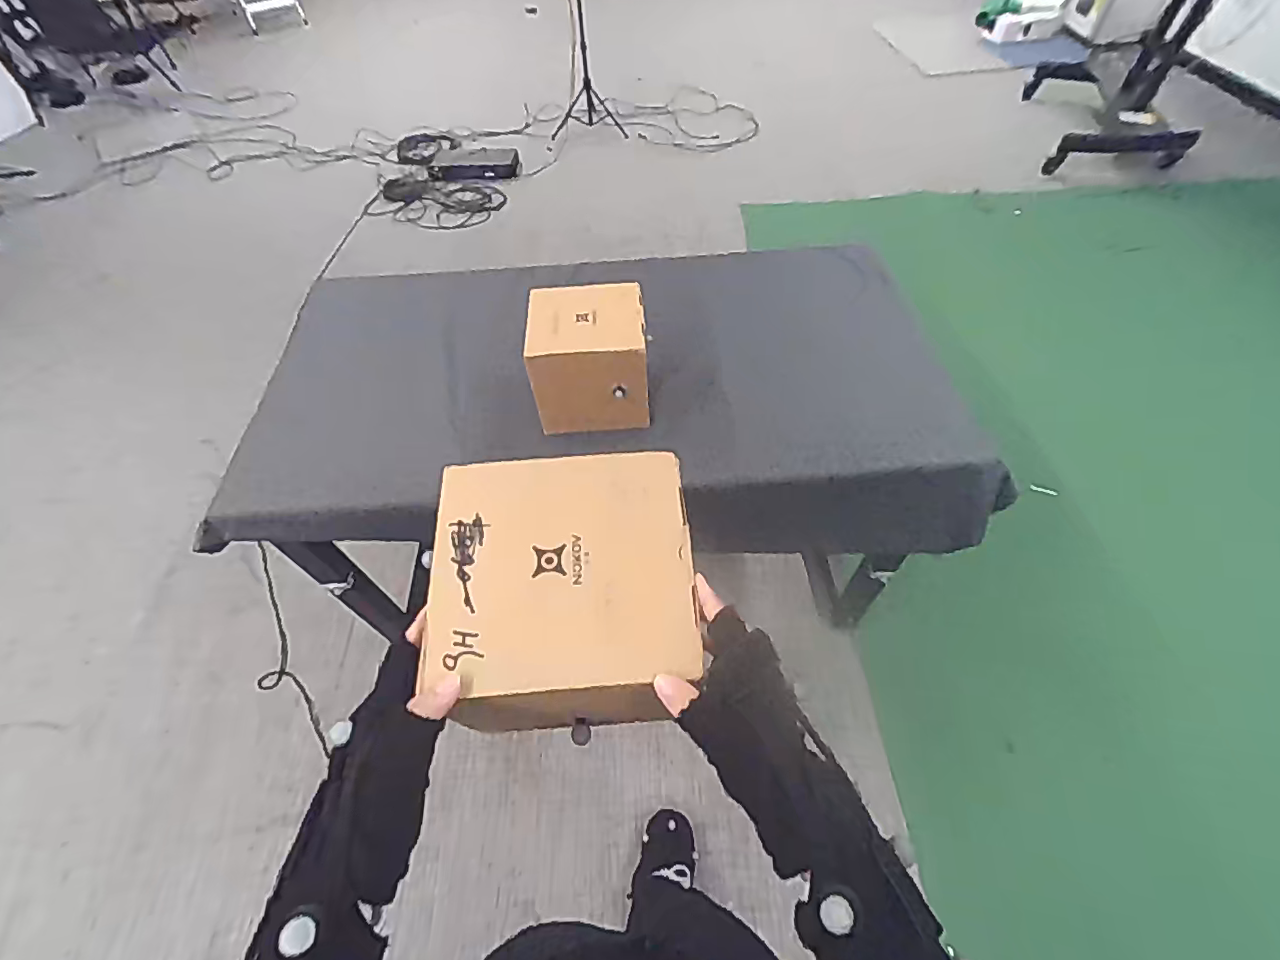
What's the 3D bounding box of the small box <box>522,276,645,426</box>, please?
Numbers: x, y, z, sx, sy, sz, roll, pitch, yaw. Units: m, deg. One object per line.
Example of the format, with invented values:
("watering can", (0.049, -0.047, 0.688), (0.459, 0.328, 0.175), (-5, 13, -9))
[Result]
("small box", (-0.084, -0.205, 0.878), (0.179, 0.176, 0.168), (-5, 53, 0))
